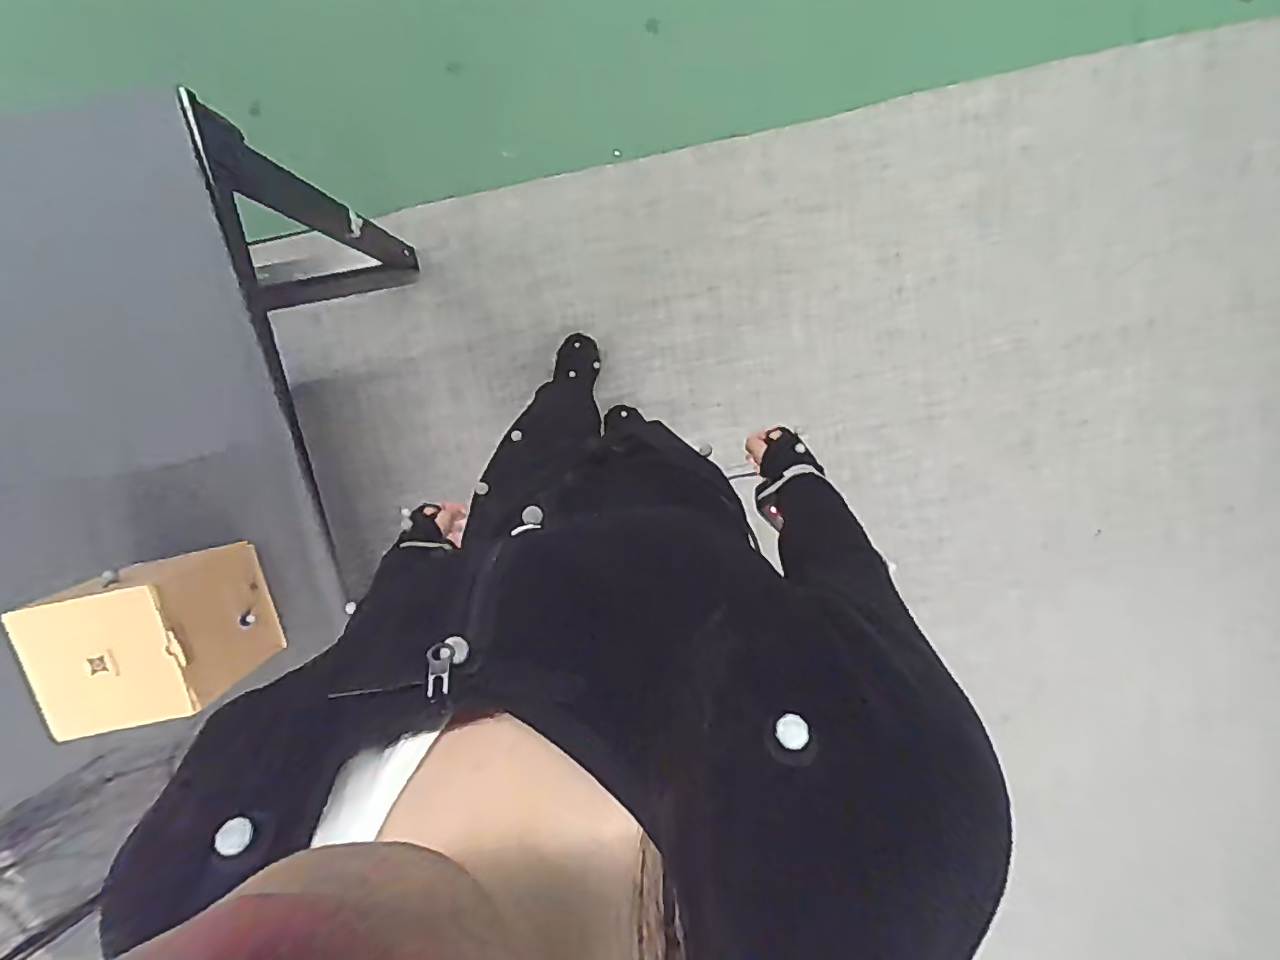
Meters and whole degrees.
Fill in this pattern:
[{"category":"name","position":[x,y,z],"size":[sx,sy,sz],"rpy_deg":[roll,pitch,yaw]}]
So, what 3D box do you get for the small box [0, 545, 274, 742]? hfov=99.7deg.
[{"category":"small box","position":[-0.622,0.195,0.689],"size":[0.179,0.176,0.168],"rpy_deg":[-12,100,0]}]
